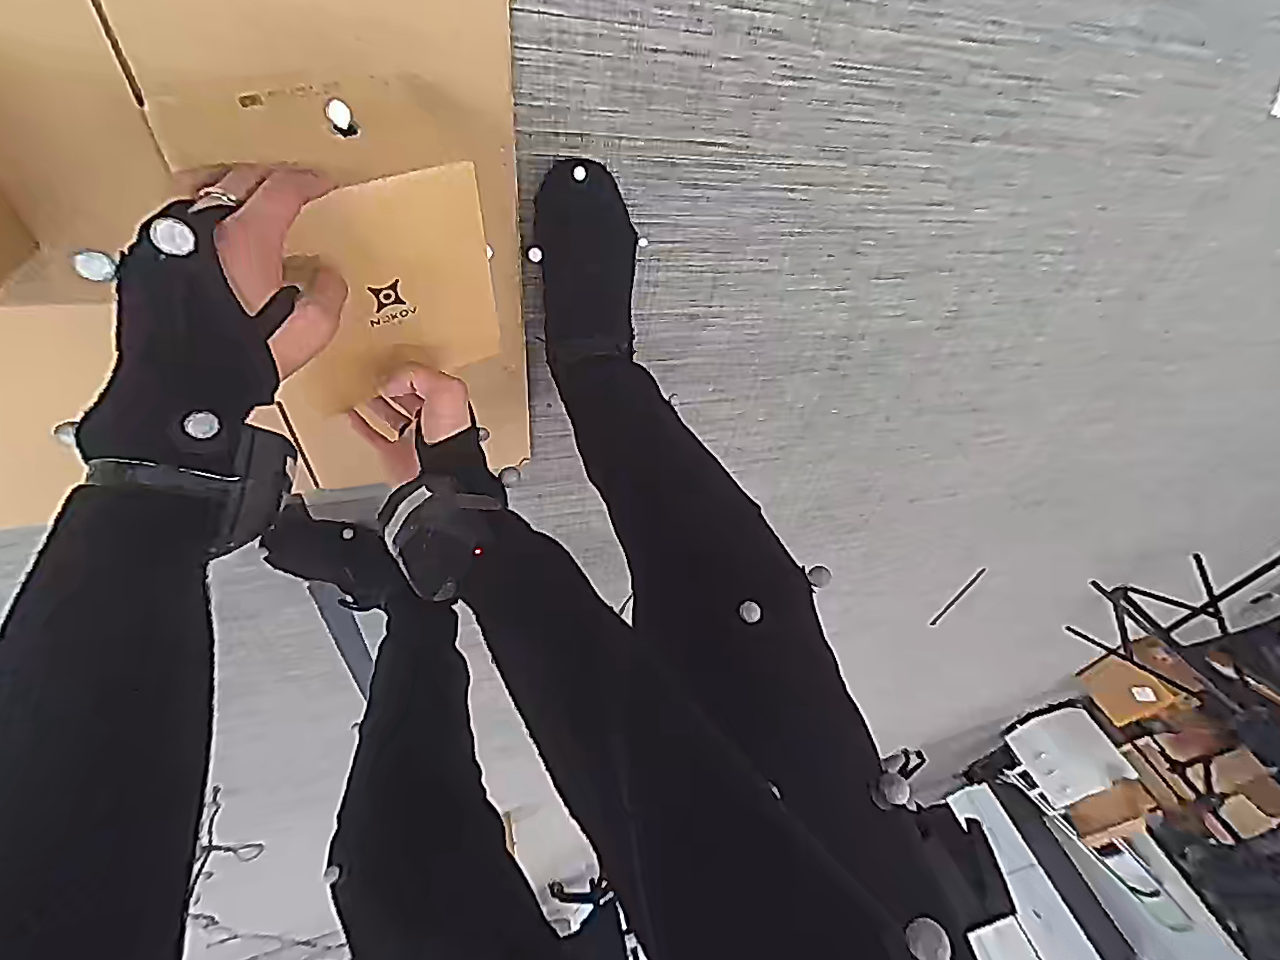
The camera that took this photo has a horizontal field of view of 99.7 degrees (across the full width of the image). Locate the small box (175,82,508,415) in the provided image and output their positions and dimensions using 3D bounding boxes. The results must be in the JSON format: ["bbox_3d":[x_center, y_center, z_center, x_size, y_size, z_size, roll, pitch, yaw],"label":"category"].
[{"bbox_3d":[-0.227,-0.192,0.440,0.168,0.176,0.179,-27,153,-22],"label":"small box"}]
